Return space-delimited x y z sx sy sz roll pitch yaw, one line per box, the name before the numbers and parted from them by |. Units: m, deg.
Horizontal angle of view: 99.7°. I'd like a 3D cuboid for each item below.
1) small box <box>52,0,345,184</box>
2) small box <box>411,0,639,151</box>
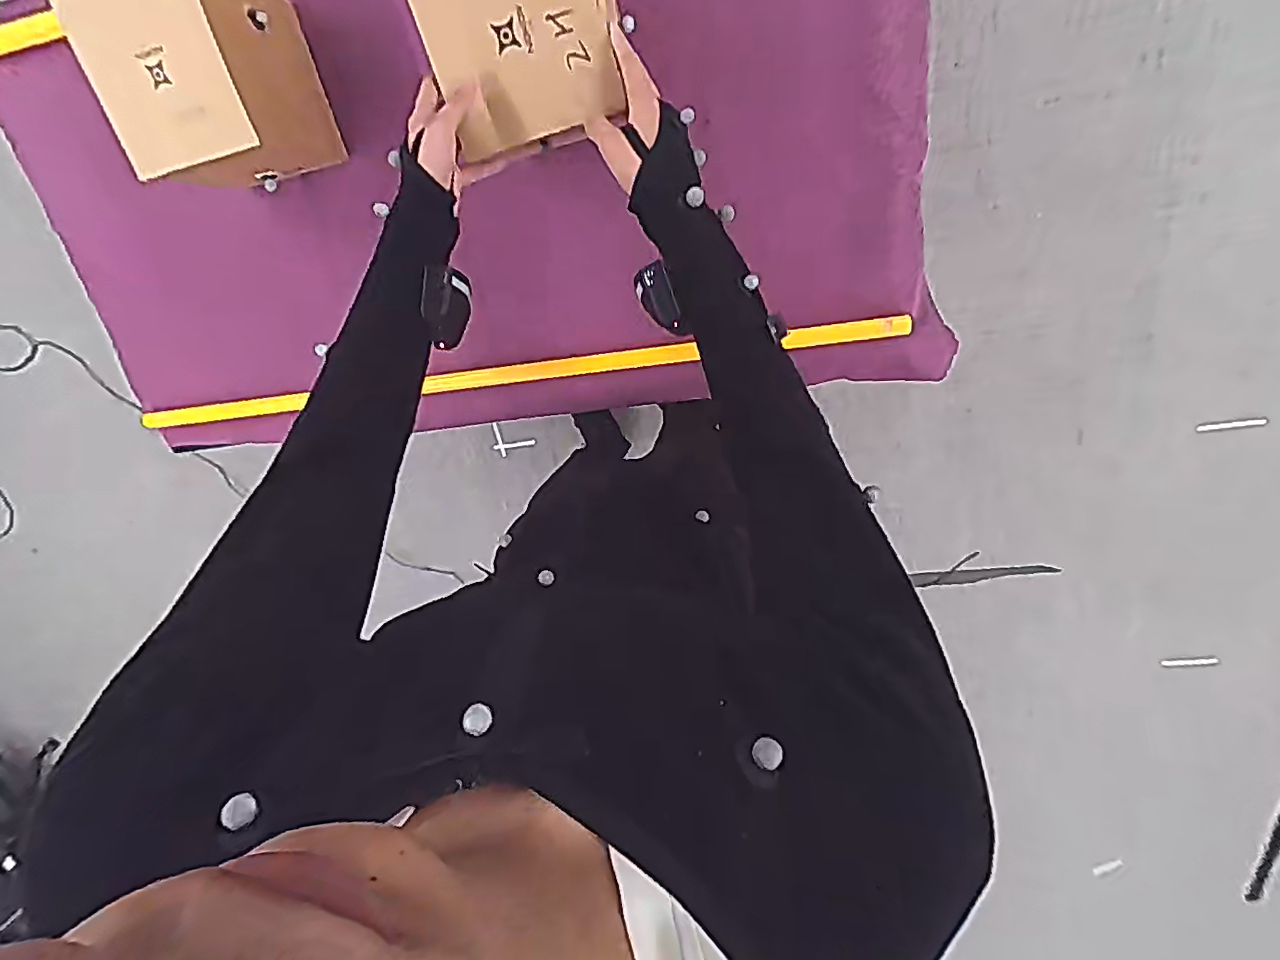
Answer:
small box | -0.493 -0.466 0.632 0.168 0.176 0.179 -8 114 11
small box | -0.107 -0.455 0.559 0.179 0.176 0.168 -11 120 11
